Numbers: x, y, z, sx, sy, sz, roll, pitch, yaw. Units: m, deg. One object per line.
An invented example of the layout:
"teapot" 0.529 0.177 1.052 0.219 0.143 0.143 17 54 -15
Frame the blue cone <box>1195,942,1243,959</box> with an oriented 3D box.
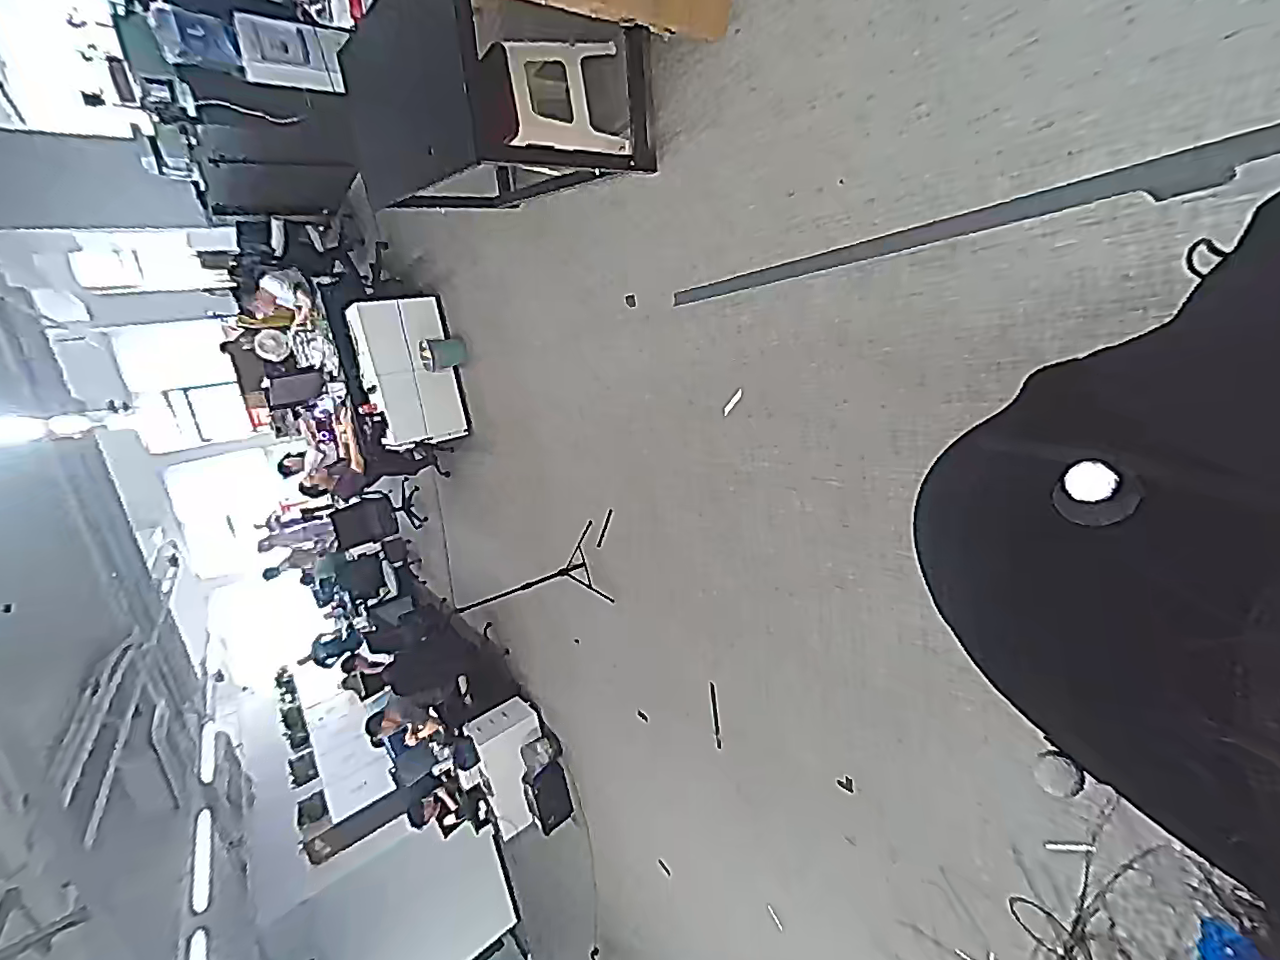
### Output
"blue cone" 1.284 1.239 1.151 0.193 0.380 0.192 8 112 52
